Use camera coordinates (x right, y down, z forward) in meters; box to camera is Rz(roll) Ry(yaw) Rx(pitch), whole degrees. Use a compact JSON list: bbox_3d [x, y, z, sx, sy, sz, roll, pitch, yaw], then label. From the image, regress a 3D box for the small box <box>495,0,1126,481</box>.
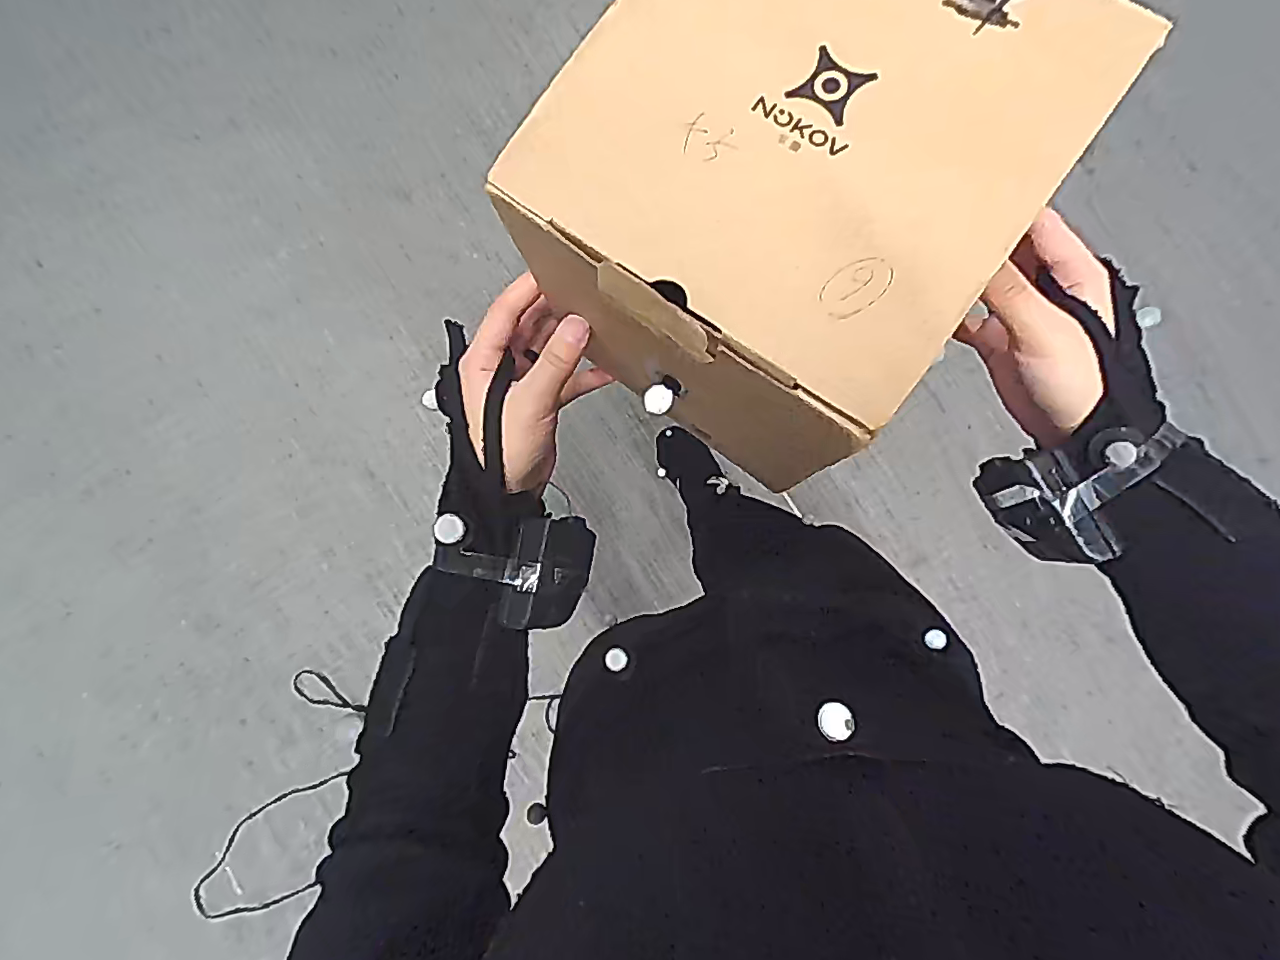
[{"bbox_3d":[0.065,-0.117,0.277,0.168,0.176,0.179,36,87,8],"label":"small box"}]
